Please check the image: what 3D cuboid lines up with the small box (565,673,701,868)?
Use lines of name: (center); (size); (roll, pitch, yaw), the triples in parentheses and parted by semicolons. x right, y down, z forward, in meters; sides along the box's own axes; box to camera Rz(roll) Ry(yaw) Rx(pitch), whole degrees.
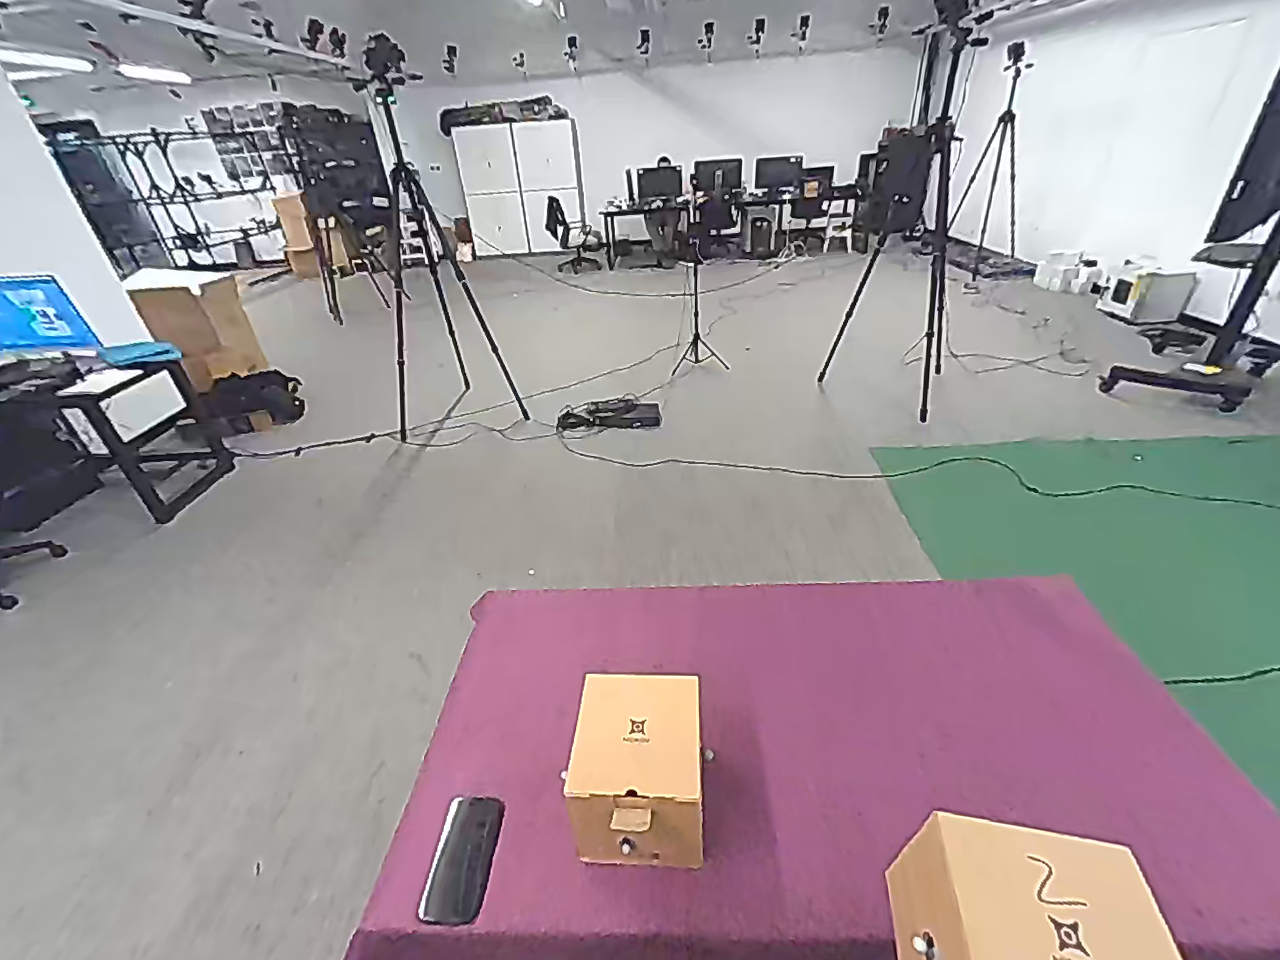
small box: (0.000, 0.397, 0.751); (0.168, 0.176, 0.179); (0, 32, 5)
